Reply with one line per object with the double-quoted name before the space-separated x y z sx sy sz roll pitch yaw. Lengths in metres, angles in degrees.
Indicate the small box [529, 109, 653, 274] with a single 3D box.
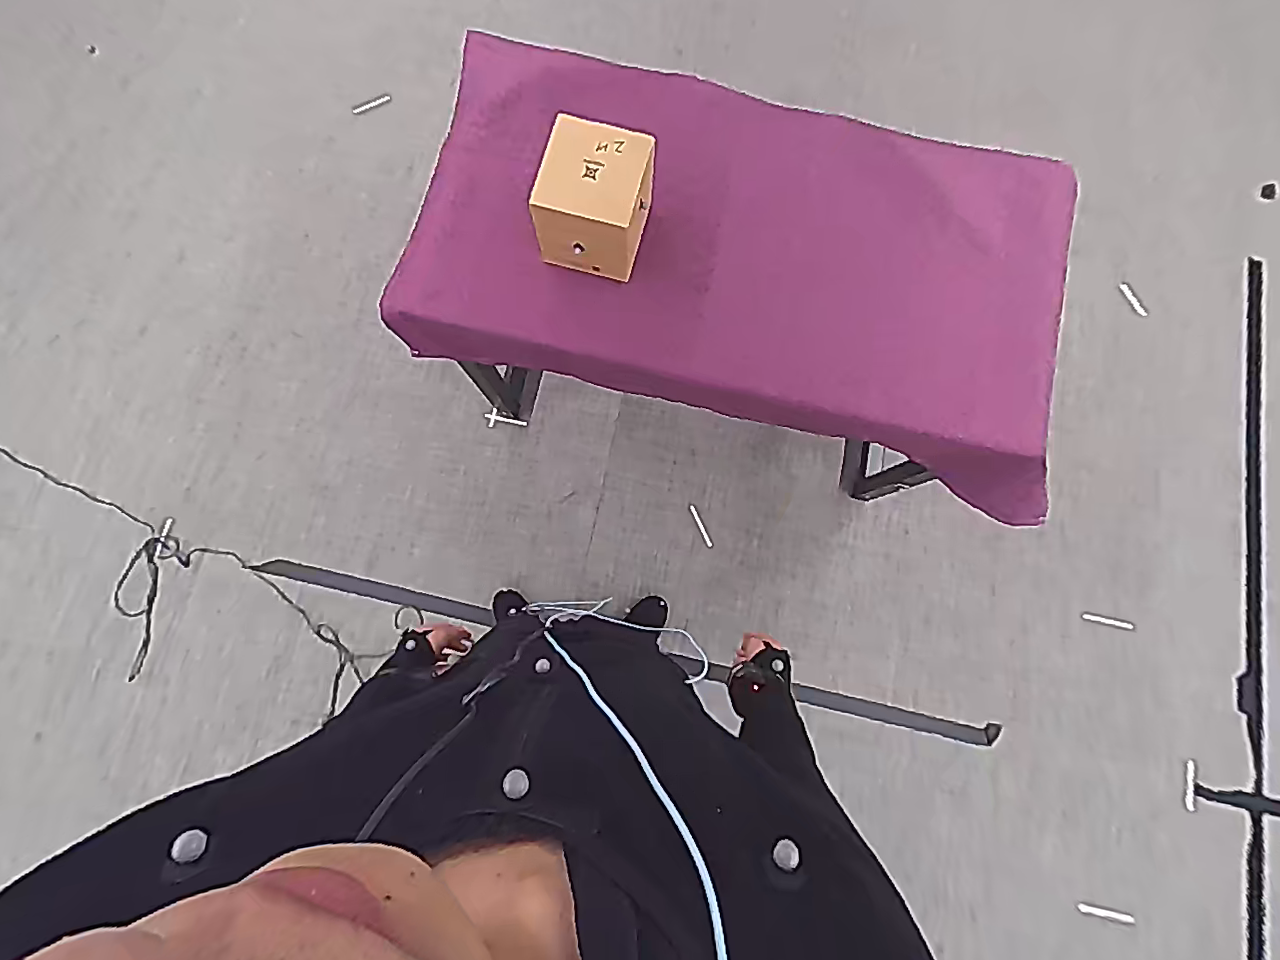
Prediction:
"small box" -0.079 -0.493 0.949 0.168 0.176 0.179 15 80 1
